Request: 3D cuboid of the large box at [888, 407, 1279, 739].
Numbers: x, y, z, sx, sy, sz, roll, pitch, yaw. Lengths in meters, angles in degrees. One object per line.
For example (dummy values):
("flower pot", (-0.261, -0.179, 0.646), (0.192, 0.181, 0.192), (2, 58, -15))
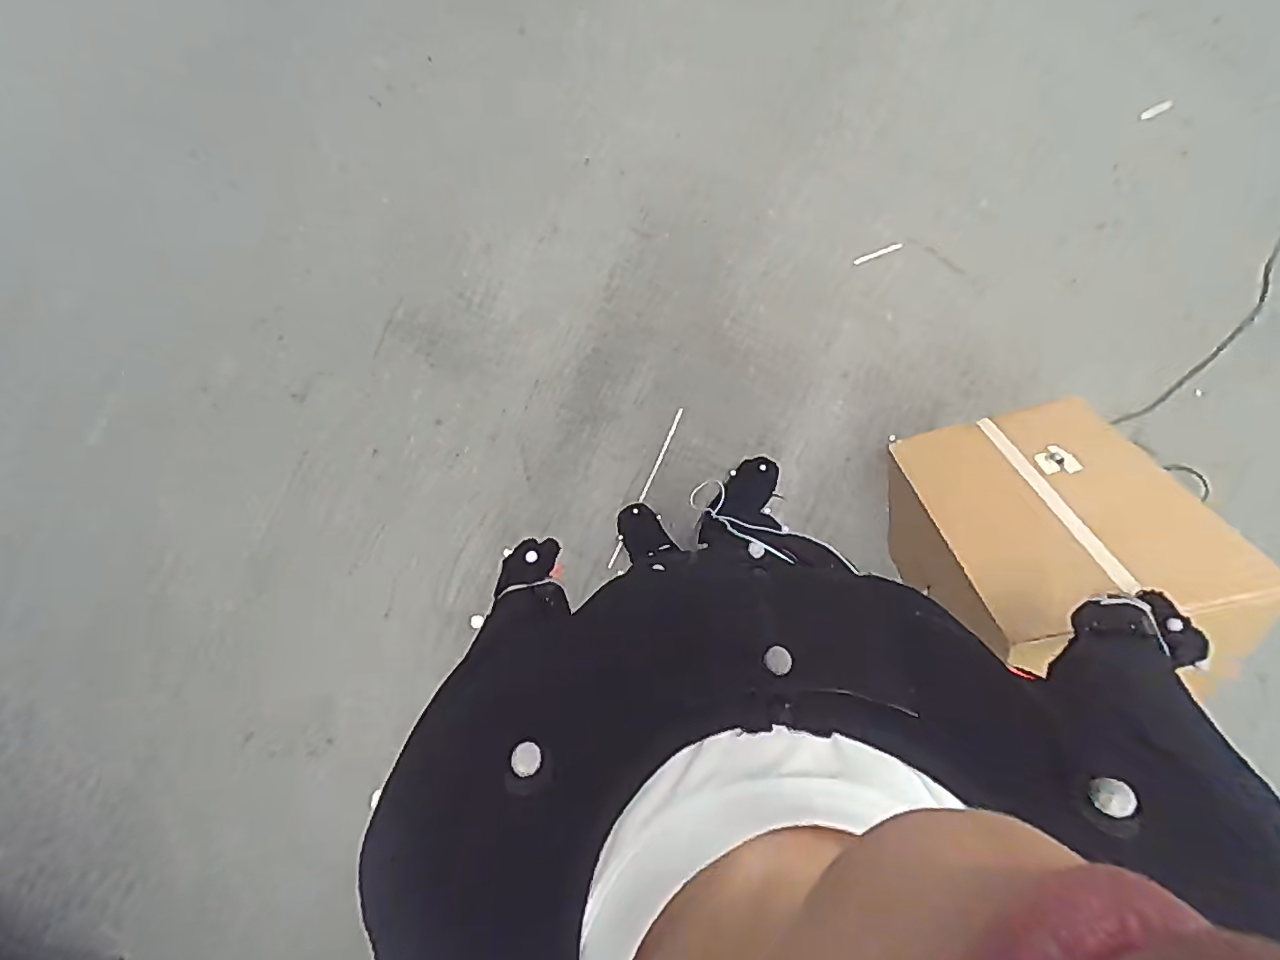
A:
("large box", (0.644, 0.146, 0.894), (0.320, 0.408, 0.320), (-13, 130, 10))
